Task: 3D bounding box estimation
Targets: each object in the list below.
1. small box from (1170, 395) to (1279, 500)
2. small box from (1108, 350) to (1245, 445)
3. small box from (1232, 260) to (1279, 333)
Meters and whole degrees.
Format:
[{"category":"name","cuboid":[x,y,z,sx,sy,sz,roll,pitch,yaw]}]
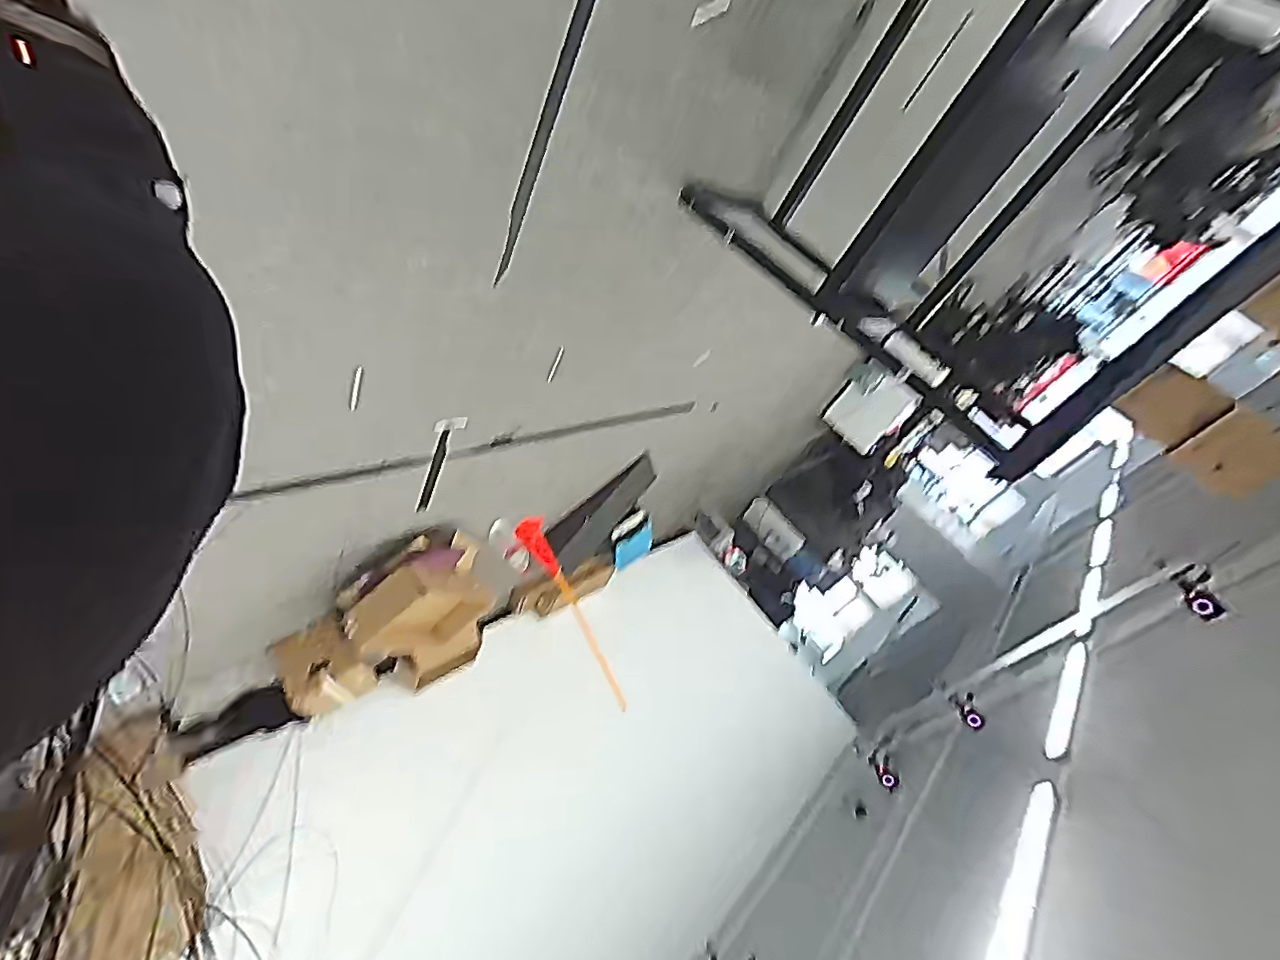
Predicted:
[{"category":"small box","cuboid":[1.391,-0.086,1.260,0.179,0.176,0.168,-21,153,-44]},{"category":"small box","cuboid":[1.313,-0.208,1.339,0.179,0.176,0.168,-17,149,-50]},{"category":"small box","cuboid":[1.442,-0.406,1.156,0.179,0.176,0.168,-19,151,-48]}]
